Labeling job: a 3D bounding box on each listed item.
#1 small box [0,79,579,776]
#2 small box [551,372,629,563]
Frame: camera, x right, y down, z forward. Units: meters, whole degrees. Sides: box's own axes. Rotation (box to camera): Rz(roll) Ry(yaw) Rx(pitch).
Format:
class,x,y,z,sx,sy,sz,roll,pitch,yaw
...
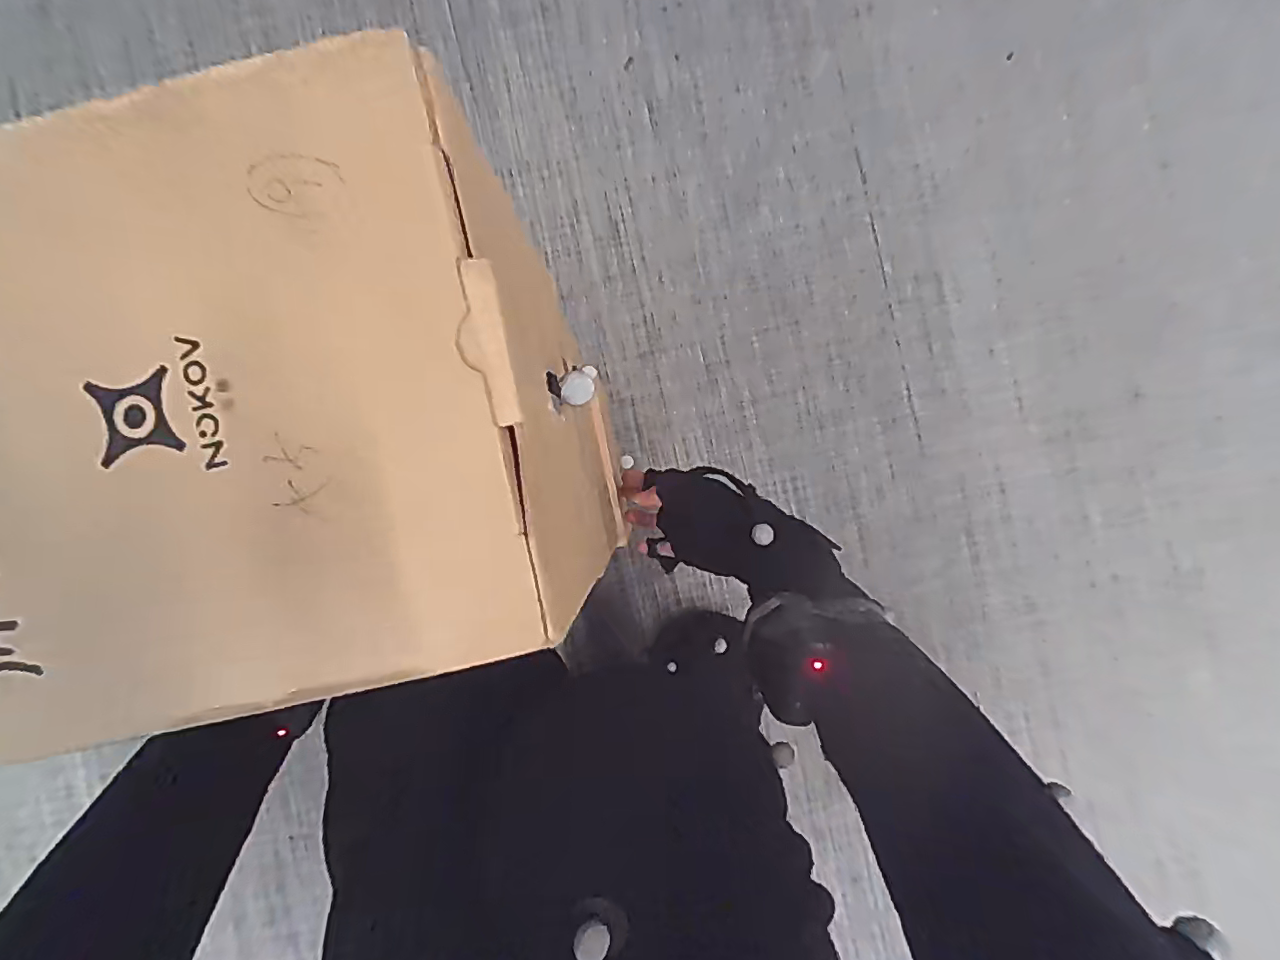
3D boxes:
class,x,y,z,sx,sy,sz,roll,pitch,yaw
small box,-0.129,-0.011,0.227,0.179,0.176,0.168,-12,89,3
small box,-0.113,0.002,0.552,0.179,0.176,0.168,-11,89,1
